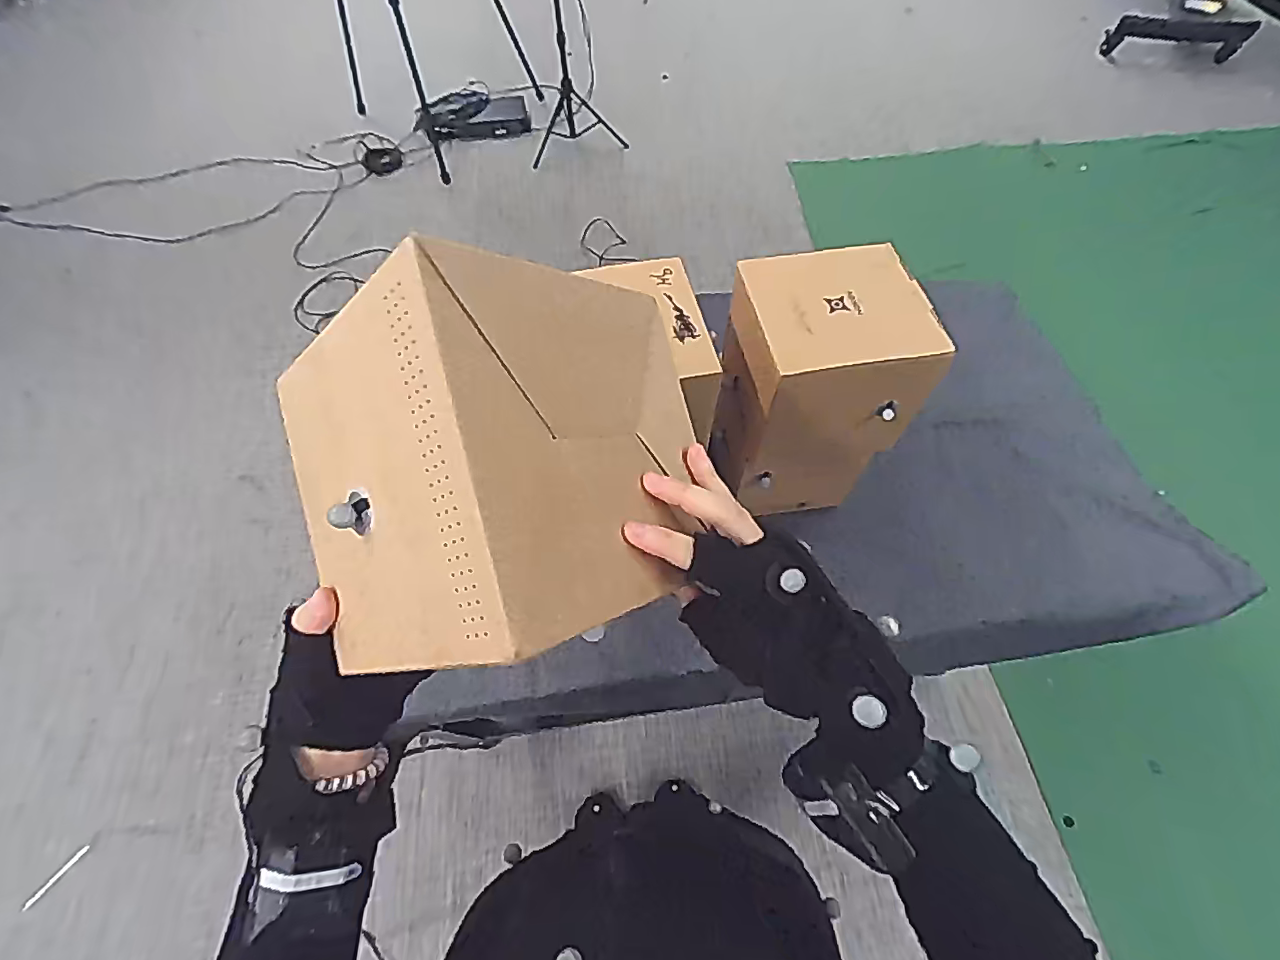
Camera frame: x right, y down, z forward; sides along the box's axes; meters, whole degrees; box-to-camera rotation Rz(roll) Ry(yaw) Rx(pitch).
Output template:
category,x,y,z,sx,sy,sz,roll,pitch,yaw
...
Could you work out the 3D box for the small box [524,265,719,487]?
category,x,y,z,sx,sy,sz,roll,pitch,yaw
small box,-0.021,-0.109,0.614,0.179,0.176,0.168,-11,62,-5
